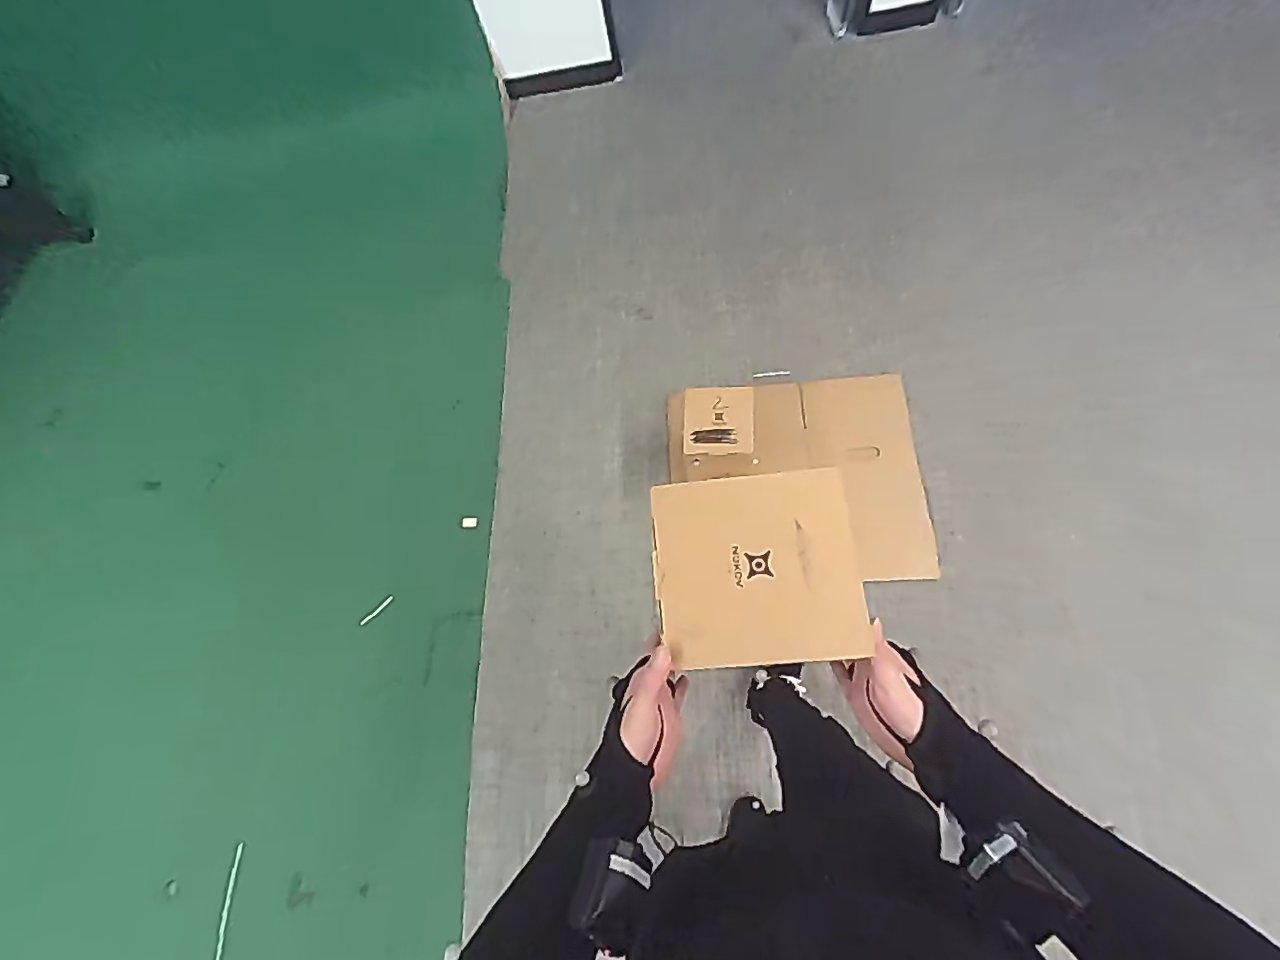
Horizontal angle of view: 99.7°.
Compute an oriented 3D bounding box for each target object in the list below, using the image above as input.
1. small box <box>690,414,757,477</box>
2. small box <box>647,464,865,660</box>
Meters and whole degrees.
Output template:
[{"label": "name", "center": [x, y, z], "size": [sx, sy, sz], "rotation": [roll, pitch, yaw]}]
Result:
[{"label": "small box", "center": [0.238, -0.076, 1.517], "size": [0.179, 0.176, 0.168], "rotation": [1, 72, 10]}, {"label": "small box", "center": [0.109, 0.095, 0.553], "size": [0.179, 0.176, 0.168], "rotation": [-6, 72, 7]}]
